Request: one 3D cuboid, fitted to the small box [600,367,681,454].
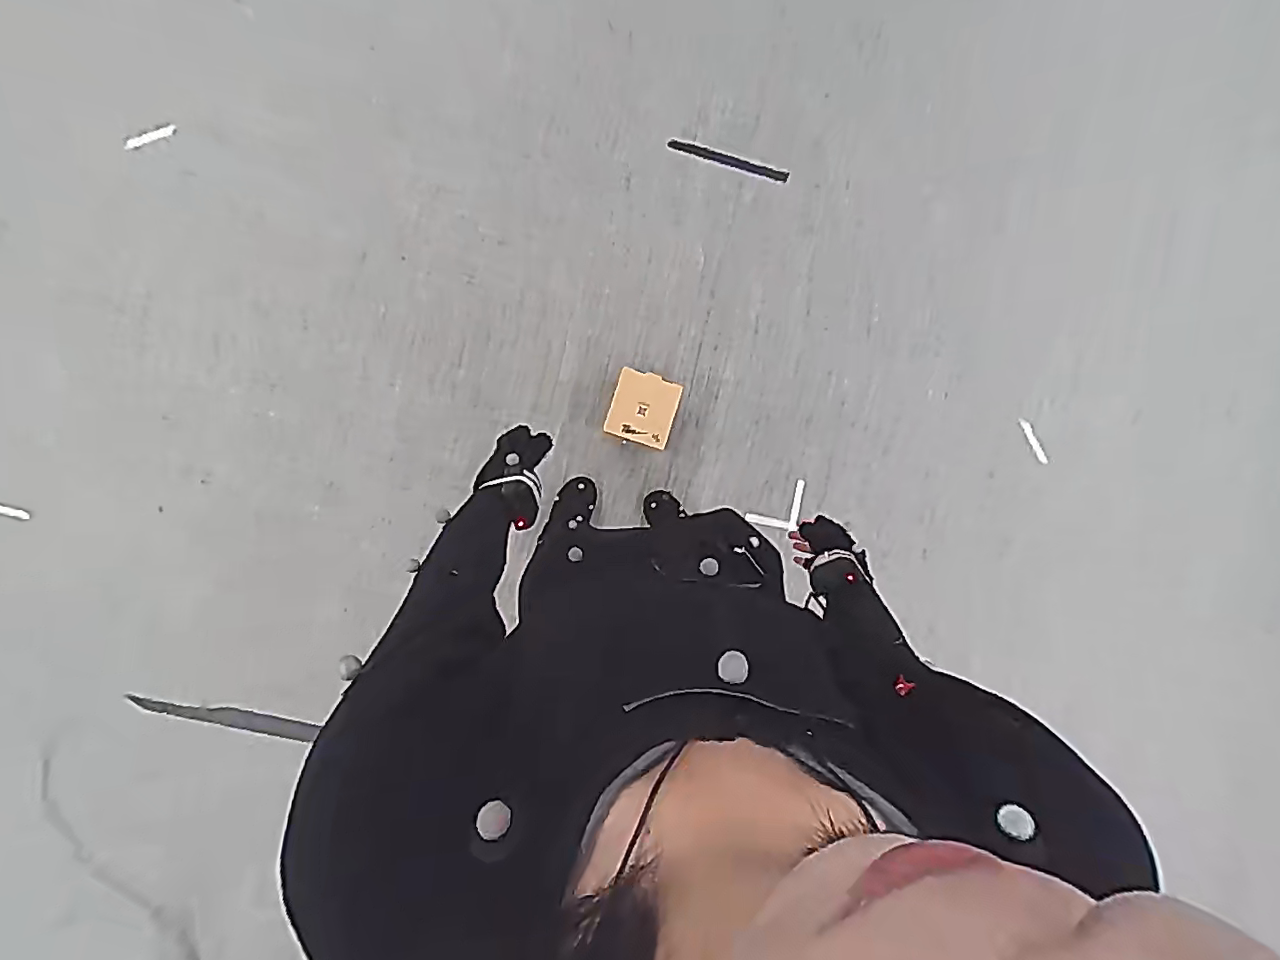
[{"bbox_3d":[-0.007,-0.180,1.454,0.168,0.176,0.179,18,87,-6],"label":"small box"}]
